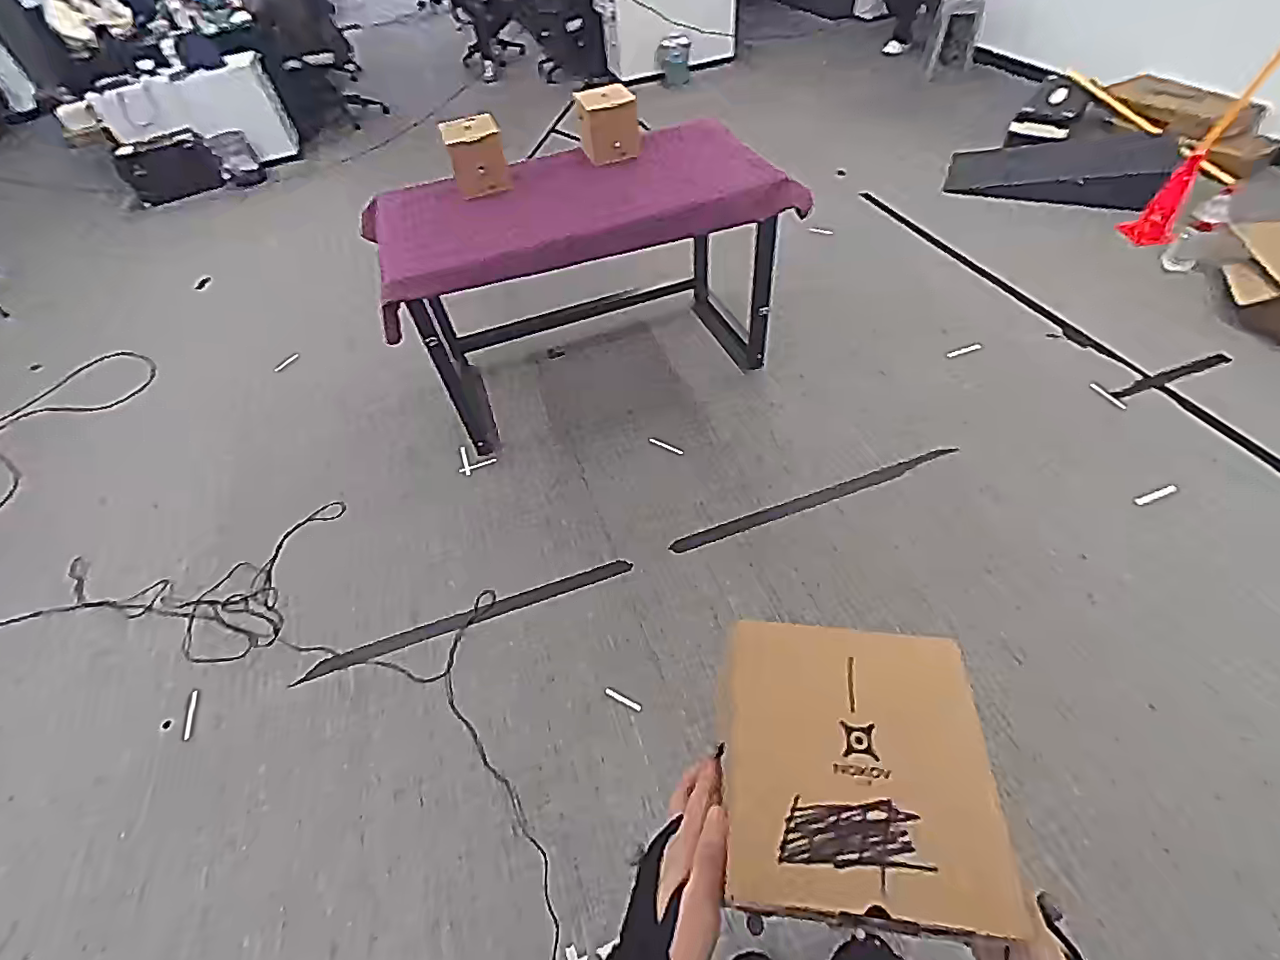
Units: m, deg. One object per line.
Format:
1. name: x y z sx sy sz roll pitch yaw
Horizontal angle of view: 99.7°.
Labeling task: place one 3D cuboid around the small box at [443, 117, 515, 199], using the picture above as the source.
1. small box: -0.515 -1.028 1.737 0.168 0.176 0.179 -19 54 -9

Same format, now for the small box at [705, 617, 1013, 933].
1. small box: 0.139 0.228 0.420 0.168 0.176 0.179 3 50 5

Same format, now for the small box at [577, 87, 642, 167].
1. small box: -0.099 -1.180 1.809 0.168 0.176 0.179 -19 53 -7
